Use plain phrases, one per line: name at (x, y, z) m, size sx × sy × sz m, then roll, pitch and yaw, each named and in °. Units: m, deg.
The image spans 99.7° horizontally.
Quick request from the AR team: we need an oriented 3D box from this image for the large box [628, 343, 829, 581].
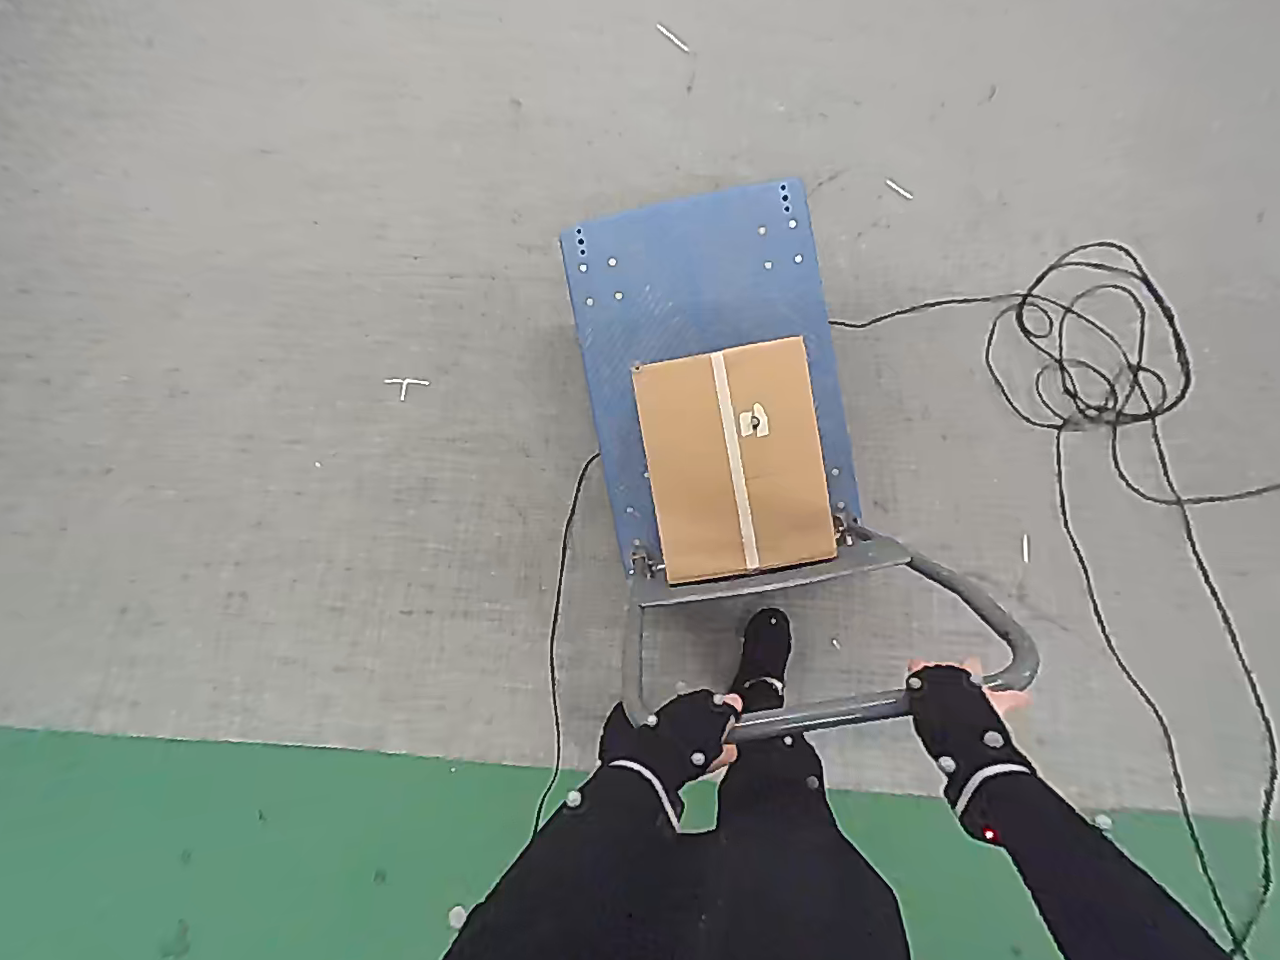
large box at (0.174, -0.034, 1.152) m, size 0.320 × 0.320 × 0.408 m, roll -10°, pitch 91°, yaw 3°
